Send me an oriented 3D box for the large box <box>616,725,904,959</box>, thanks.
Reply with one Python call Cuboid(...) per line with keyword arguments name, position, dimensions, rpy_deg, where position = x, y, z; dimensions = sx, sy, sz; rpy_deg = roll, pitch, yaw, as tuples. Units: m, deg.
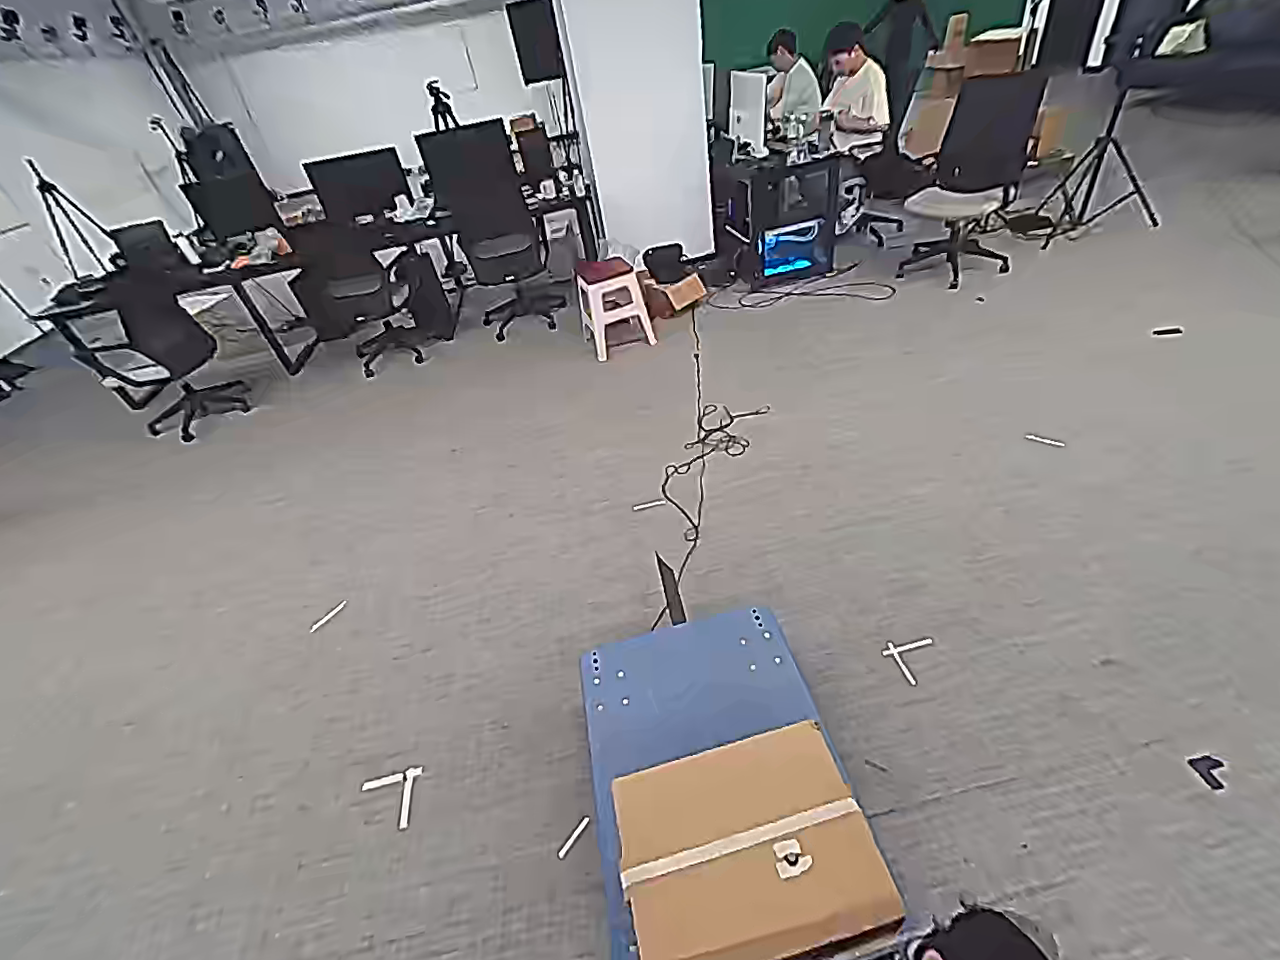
Cuboid(name="large box", position=(0.201, 0.729, 1.006), dimensions=(0.408, 0.320, 0.320), rpy_deg=(-15, 41, -4))
